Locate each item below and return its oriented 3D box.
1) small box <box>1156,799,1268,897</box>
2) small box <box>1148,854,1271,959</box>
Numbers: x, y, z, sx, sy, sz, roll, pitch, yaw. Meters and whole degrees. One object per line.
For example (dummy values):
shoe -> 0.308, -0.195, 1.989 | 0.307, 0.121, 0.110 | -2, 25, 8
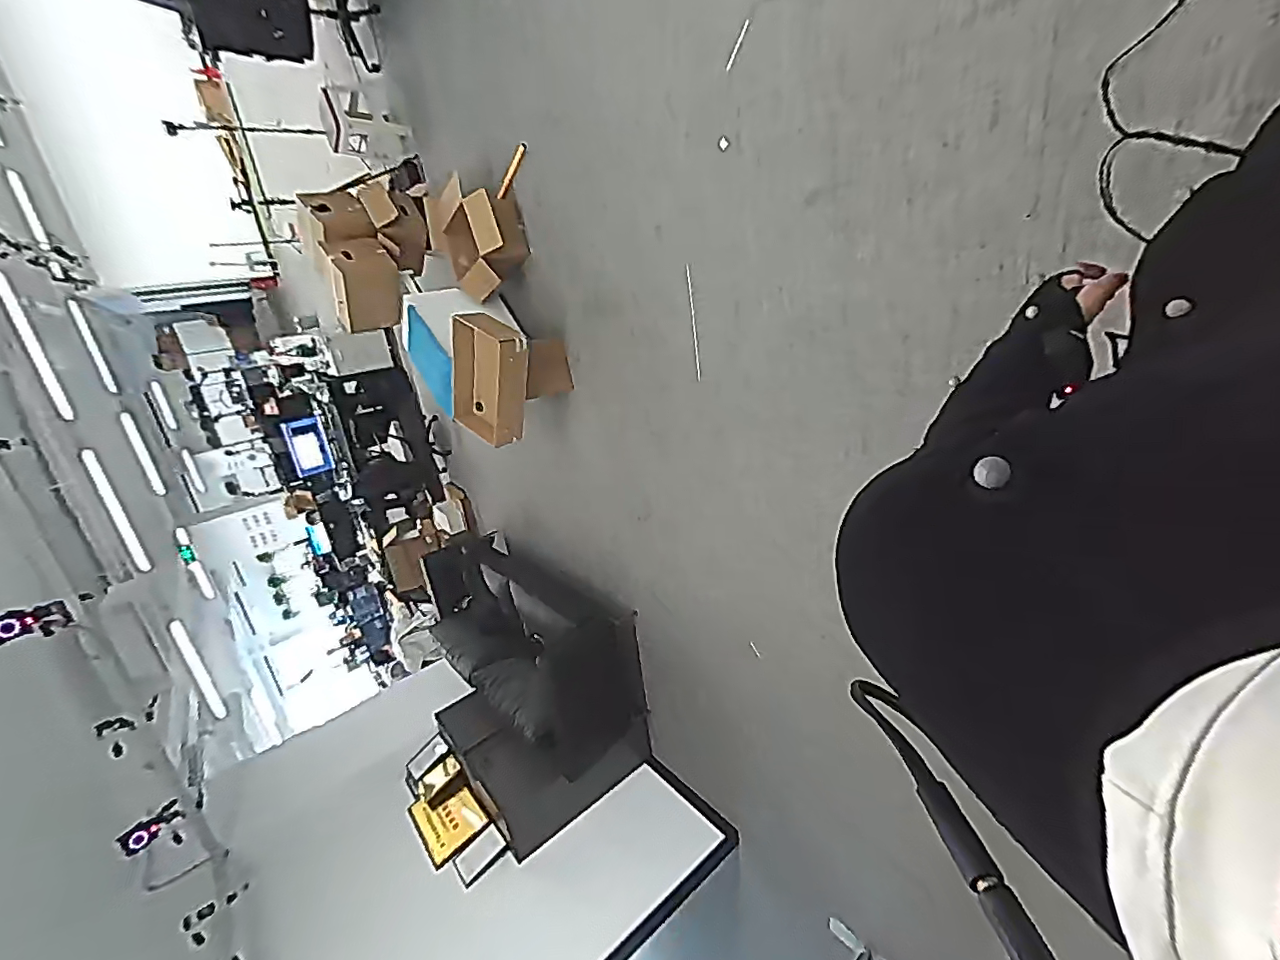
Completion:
small box -> 1.413, 0.947, 1.336 | 0.168, 0.176, 0.179 | 10, 116, 52
small box -> 1.300, 1.016, 1.235 | 0.168, 0.176, 0.179 | 12, 118, 52
